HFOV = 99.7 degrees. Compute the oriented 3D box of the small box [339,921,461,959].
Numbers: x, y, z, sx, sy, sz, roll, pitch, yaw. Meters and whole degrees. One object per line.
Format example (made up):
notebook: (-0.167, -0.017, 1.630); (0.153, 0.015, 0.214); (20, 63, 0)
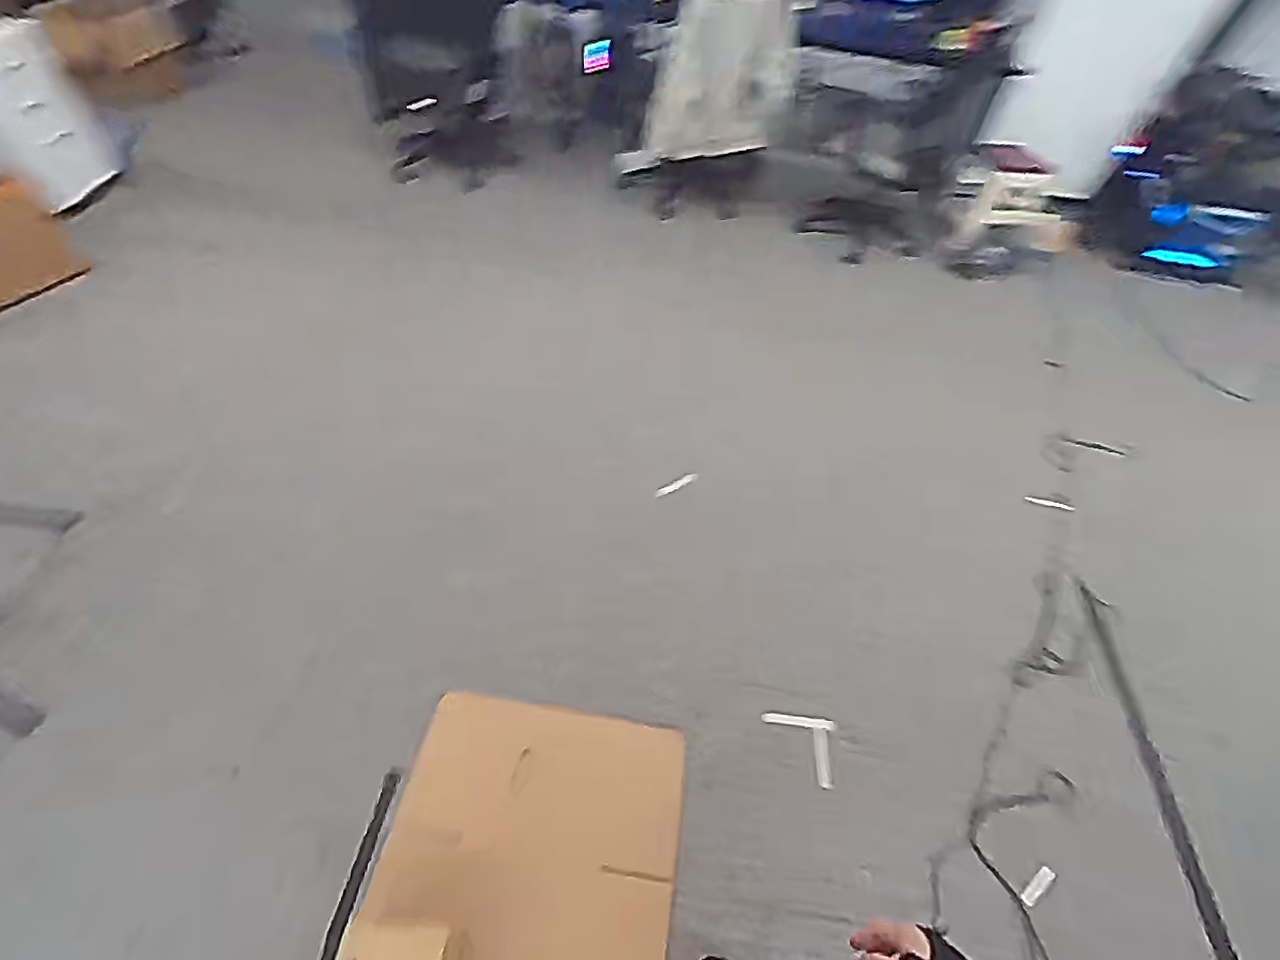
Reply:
small box: (-0.422, 0.878, 0.939); (0.179, 0.176, 0.168); (4, 52, -4)
